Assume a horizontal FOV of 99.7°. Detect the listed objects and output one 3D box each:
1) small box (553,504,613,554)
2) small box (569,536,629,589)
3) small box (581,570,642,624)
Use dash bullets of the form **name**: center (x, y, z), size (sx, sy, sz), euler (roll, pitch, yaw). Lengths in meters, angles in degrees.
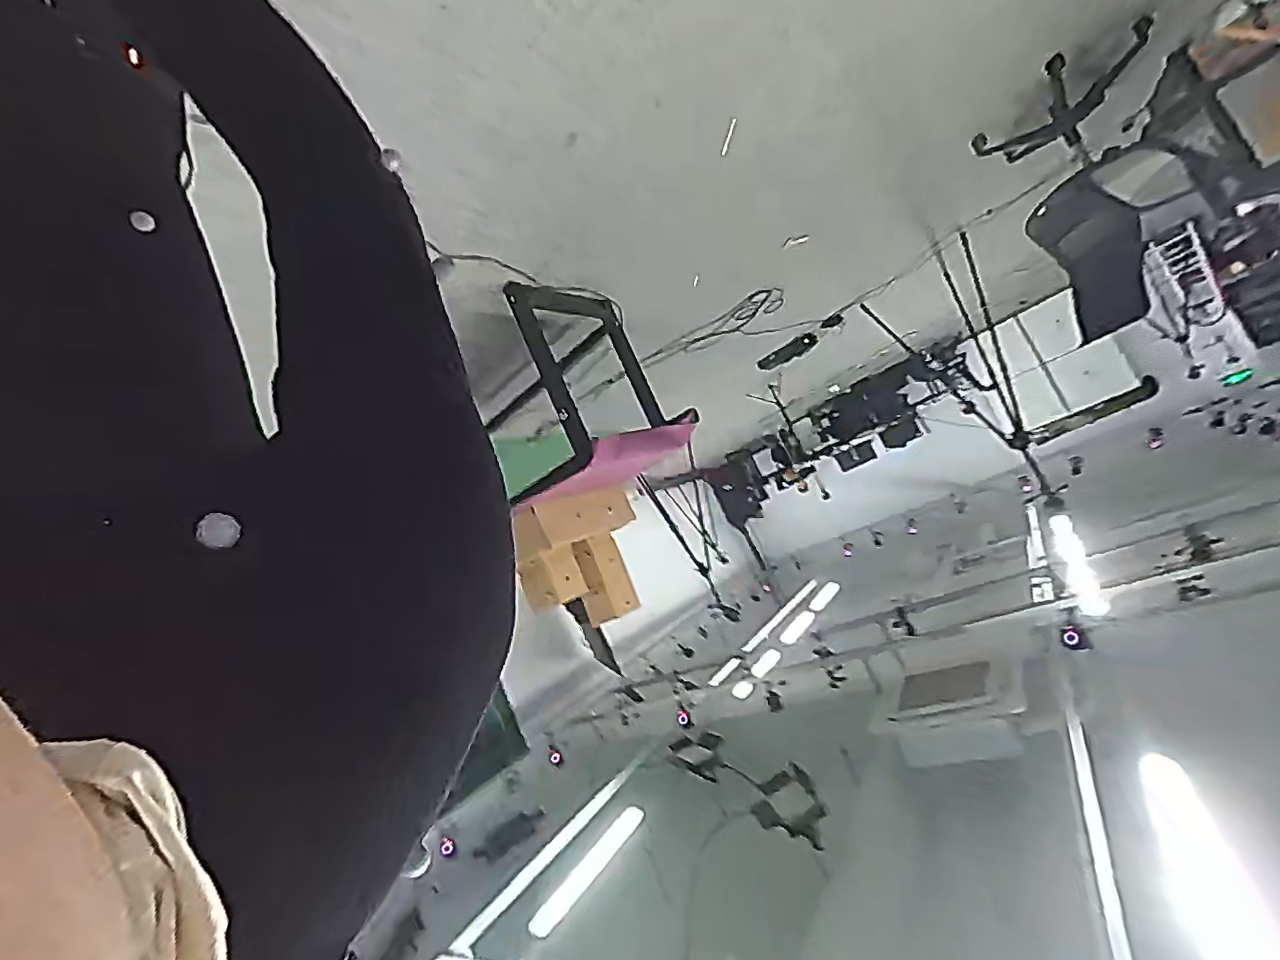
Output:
- **small box**: center (-0.258, 0.215, 2.429), size (0.168, 0.176, 0.179), euler (-29, 170, 34)
- **small box**: center (-0.189, 0.364, 2.413), size (0.168, 0.176, 0.179), euler (-29, 171, 35)
- **small box**: center (-0.126, 0.512, 2.391), size (0.168, 0.176, 0.179), euler (-29, 169, 35)
